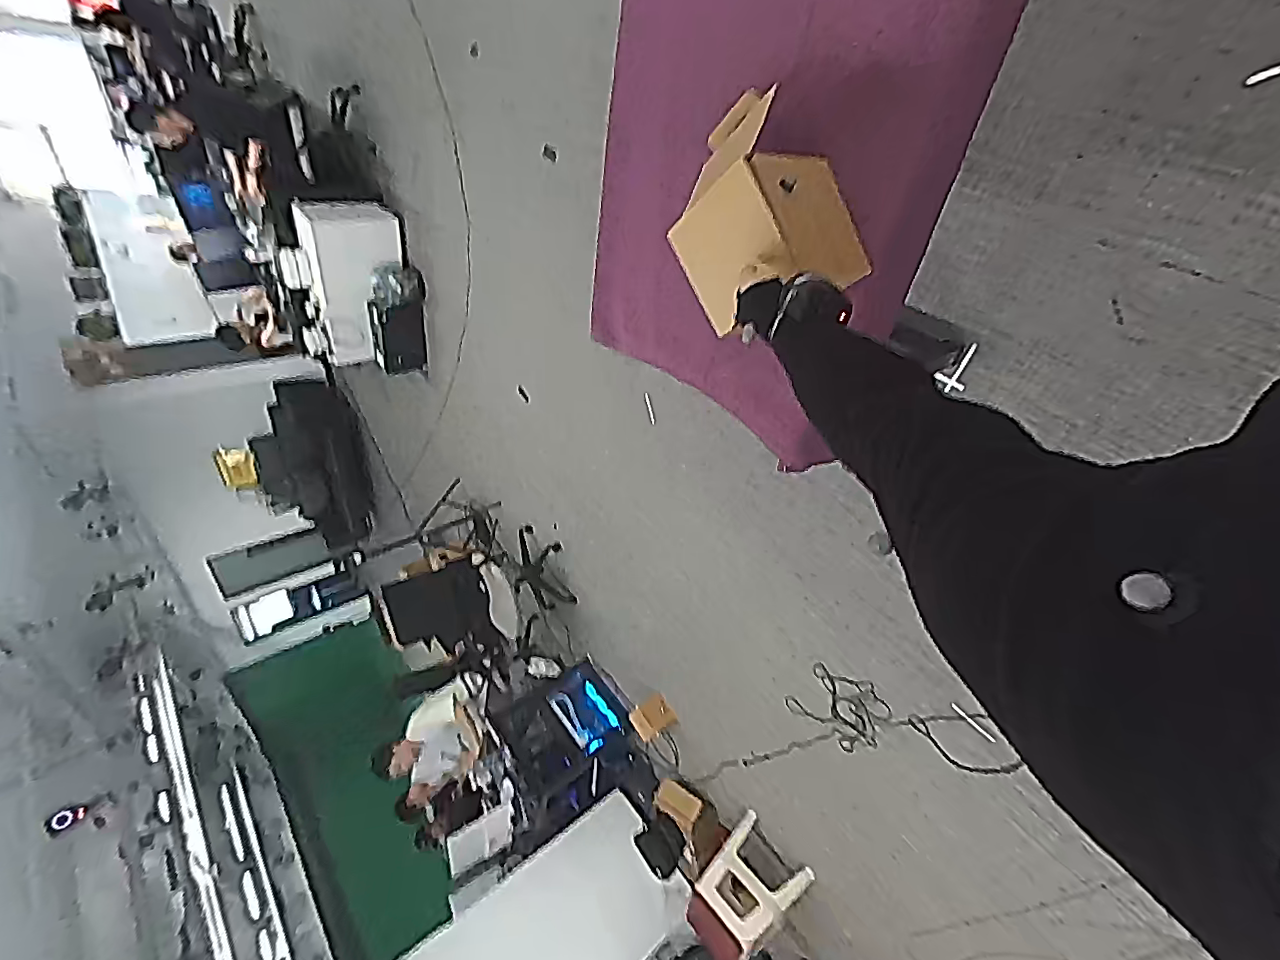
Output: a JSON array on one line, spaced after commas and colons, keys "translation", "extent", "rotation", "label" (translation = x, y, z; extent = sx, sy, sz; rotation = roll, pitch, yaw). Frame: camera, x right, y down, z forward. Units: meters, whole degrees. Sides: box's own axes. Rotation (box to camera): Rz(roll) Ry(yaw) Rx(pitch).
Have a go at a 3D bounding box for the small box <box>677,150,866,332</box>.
[{"translation": [0.190, -0.337, 0.784], "extent": [0.168, 0.176, 0.179], "rotation": [-24, 87, 56], "label": "small box"}]
